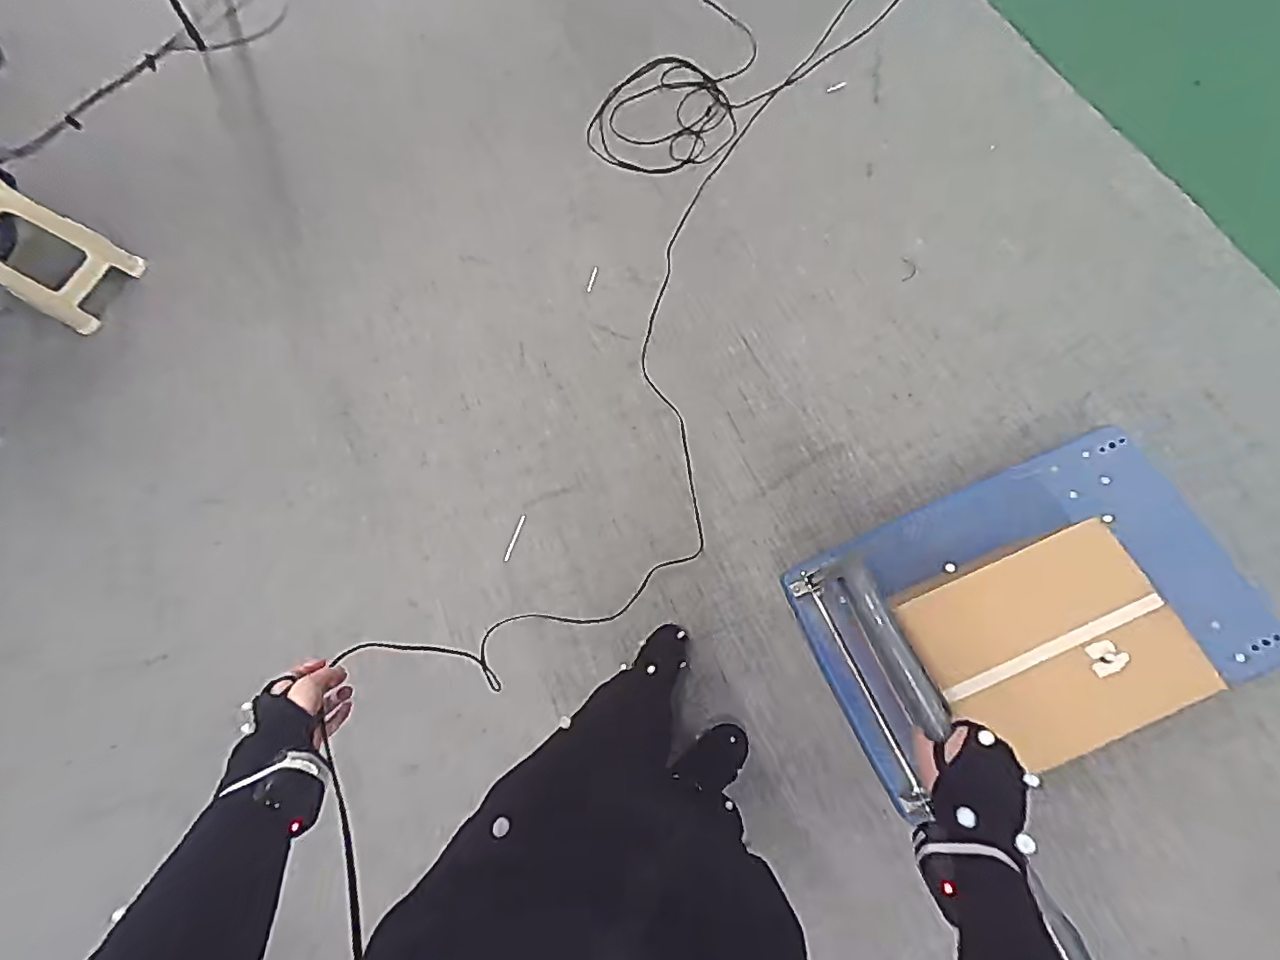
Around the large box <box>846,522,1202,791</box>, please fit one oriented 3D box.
[{"bbox_3d":[0.687,0.332,1.056,0.408,0.320,0.320,-25,72,0],"label":"large box"}]
